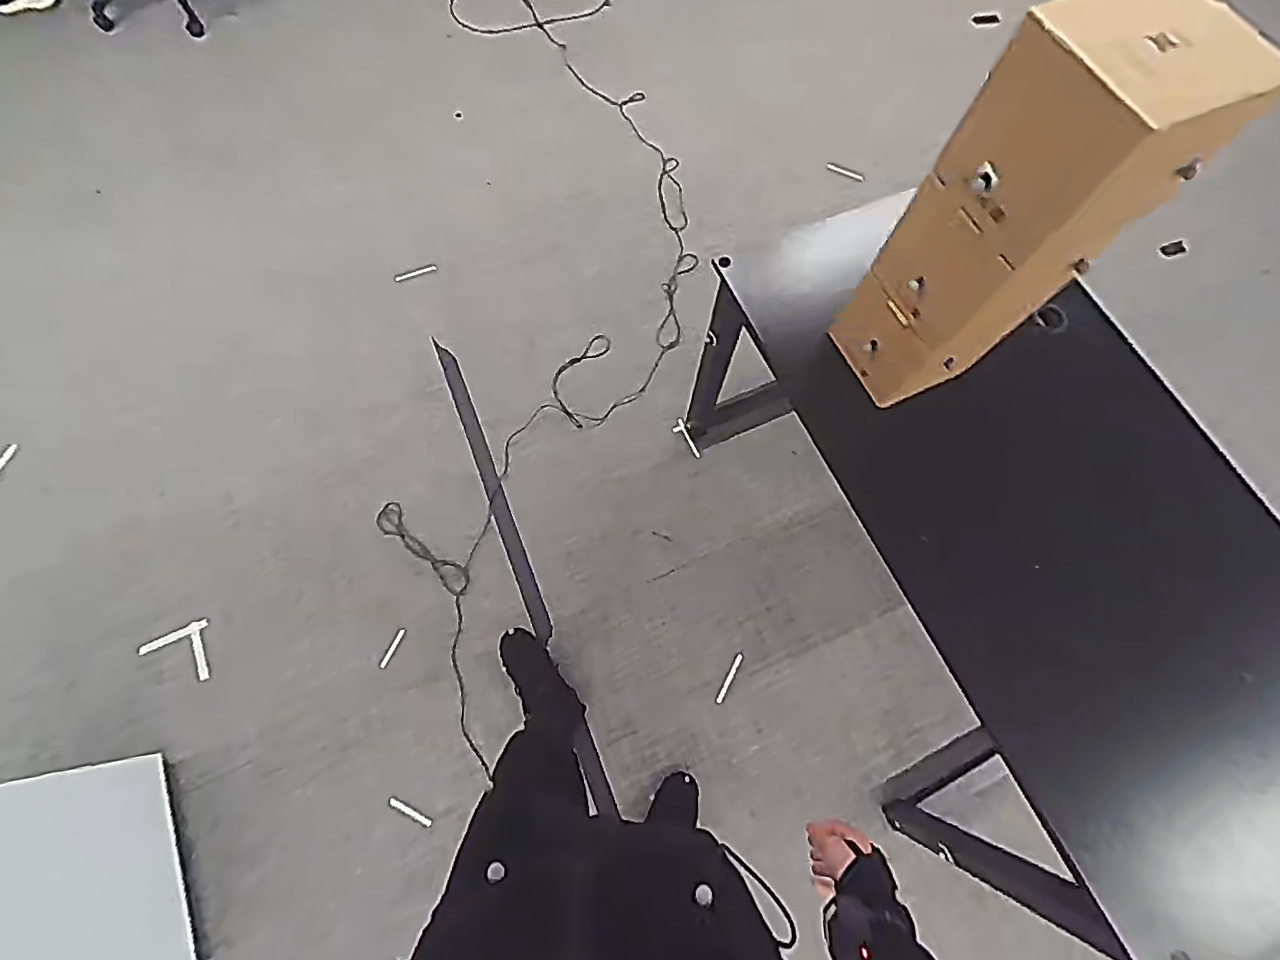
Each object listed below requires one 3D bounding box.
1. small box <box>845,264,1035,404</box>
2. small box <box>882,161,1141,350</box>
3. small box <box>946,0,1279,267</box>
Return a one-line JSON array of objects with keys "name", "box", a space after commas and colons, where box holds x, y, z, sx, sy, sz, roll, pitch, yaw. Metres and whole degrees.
[{"name": "small box", "box": [0.448, -0.246, 0.850, 0.179, 0.176, 0.168, -24, 74, -9]}, {"name": "small box", "box": [0.454, -0.300, 0.694, 0.179, 0.176, 0.168, -23, 73, -9]}, {"name": "small box", "box": [0.458, -0.352, 0.540, 0.179, 0.176, 0.168, -24, 72, -9]}]
